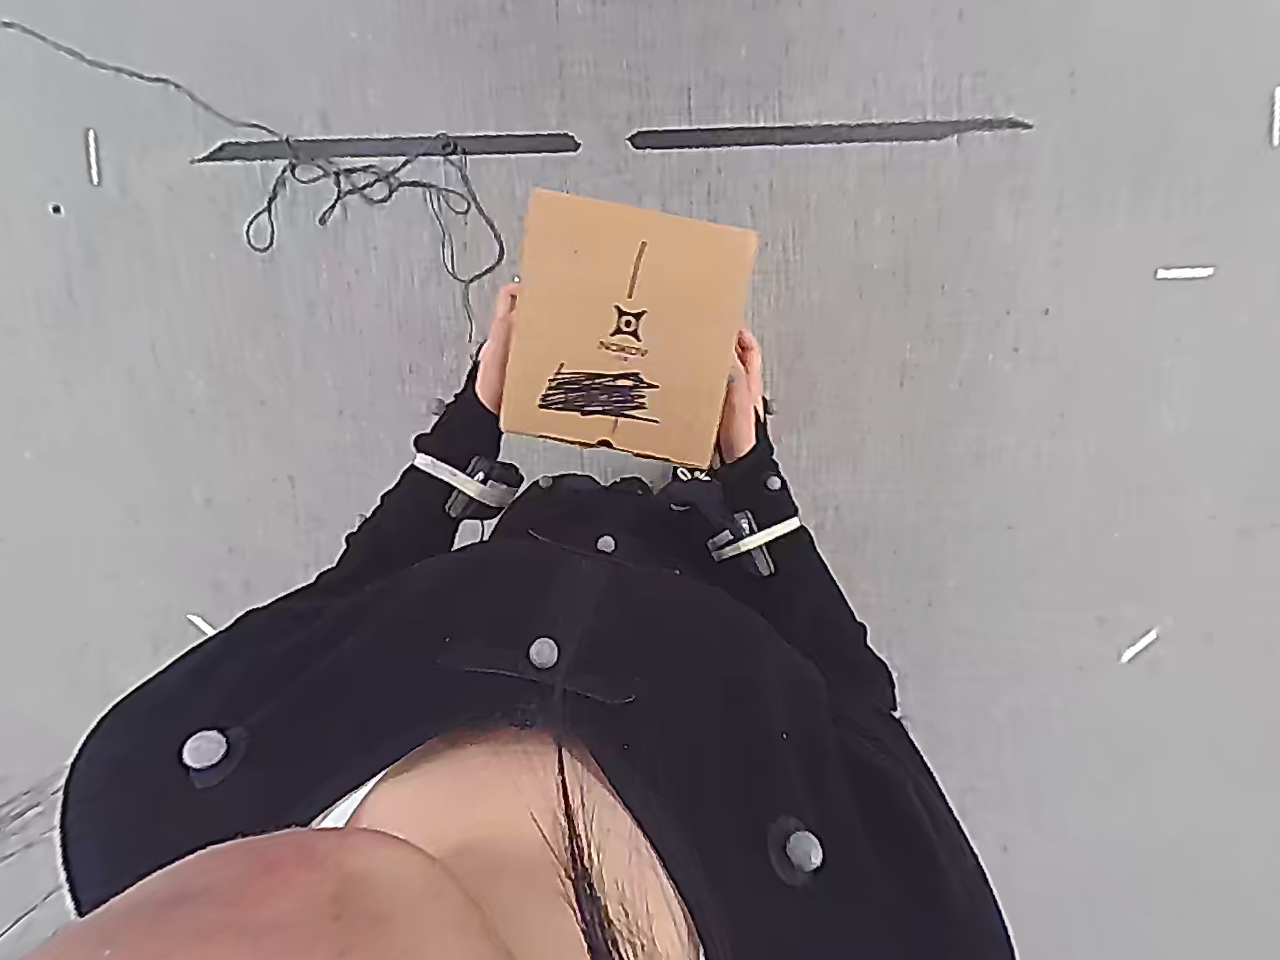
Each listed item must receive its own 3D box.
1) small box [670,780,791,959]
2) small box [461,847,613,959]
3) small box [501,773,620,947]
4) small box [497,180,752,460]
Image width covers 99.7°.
[{"bbox_3d":[0.135,0.608,0.853,0.168,0.176,0.179,-3,94,1],"label":"small box"},{"bbox_3d":[-0.120,0.613,0.692,0.168,0.176,0.179,-1,94,-1],"label":"small box"},{"bbox_3d":[-0.119,0.589,0.853,0.168,0.176,0.179,0,93,1],"label":"small box"},{"bbox_3d":[-0.014,-0.128,0.472,0.168,0.176,0.179,9,101,-2],"label":"small box"}]
